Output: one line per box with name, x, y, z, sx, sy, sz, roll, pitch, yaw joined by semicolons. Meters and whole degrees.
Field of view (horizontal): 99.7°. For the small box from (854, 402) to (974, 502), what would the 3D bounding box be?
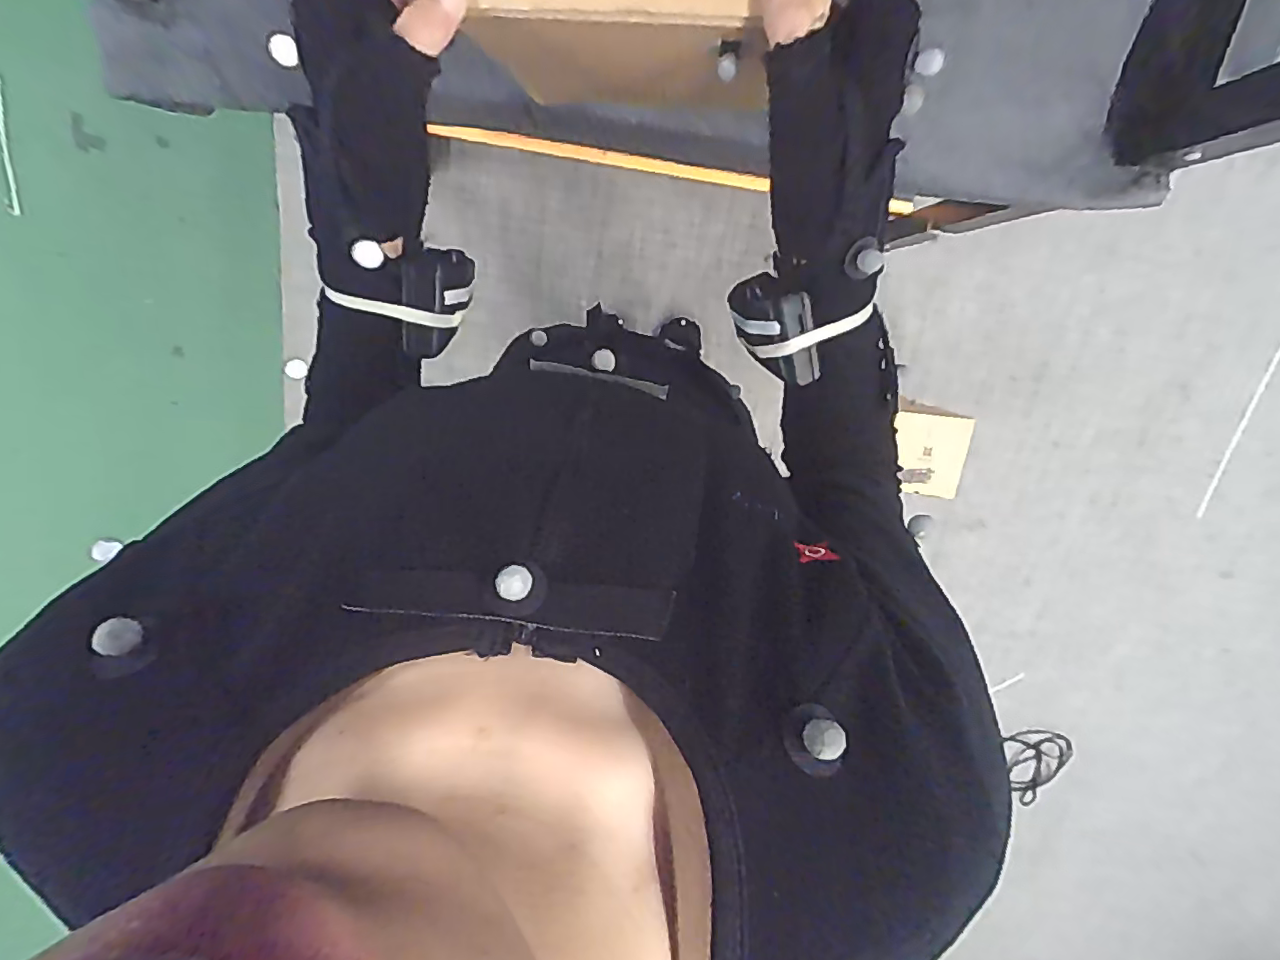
small box;0.596;-0.067;1.204;0.168;0.176;0.179;7;106;0
